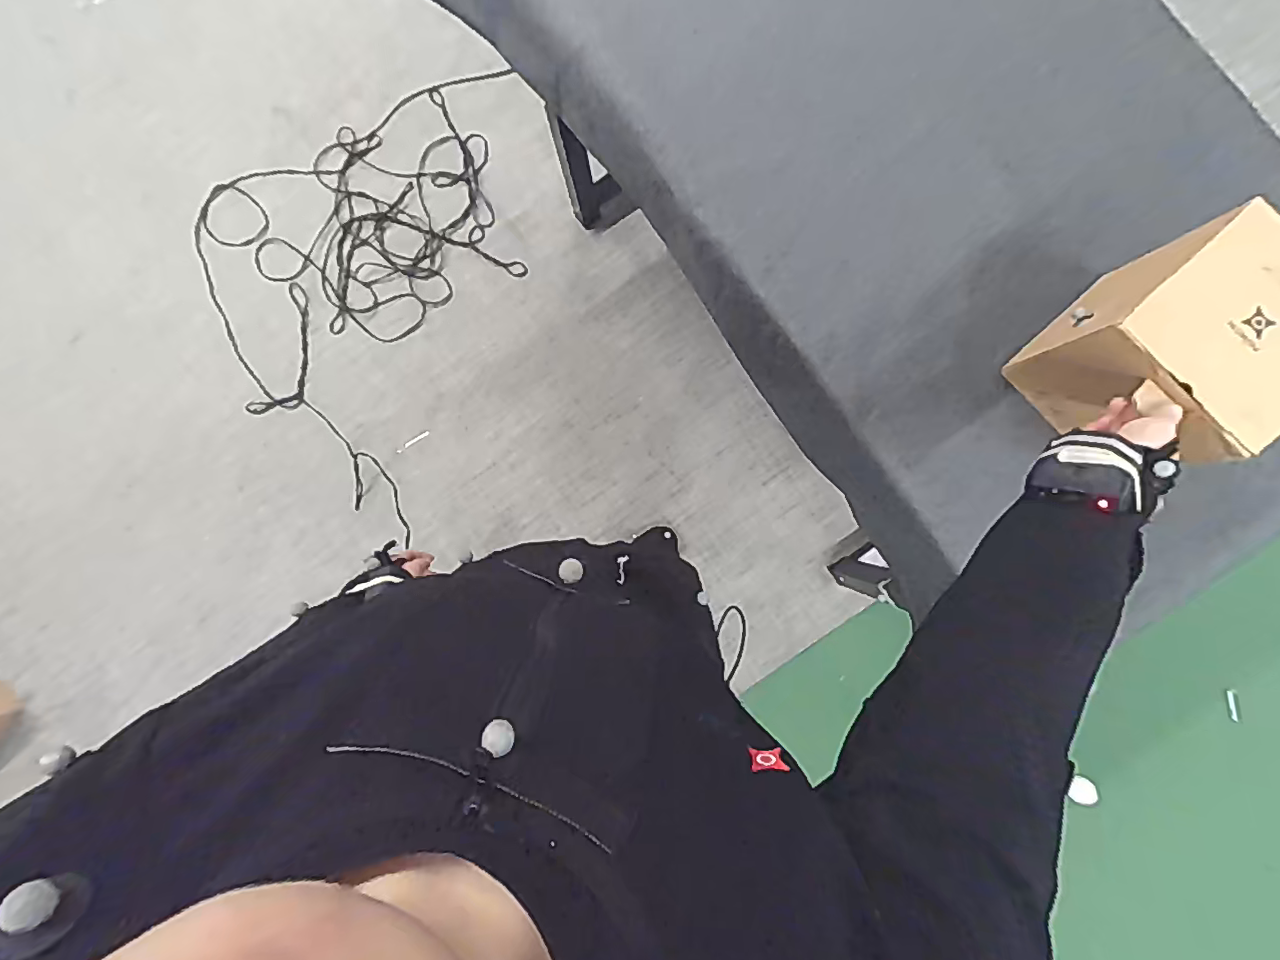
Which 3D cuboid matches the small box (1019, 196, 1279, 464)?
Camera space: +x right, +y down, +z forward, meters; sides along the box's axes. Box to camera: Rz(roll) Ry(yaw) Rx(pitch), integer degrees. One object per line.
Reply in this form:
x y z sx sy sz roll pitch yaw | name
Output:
0.539 -0.132 0.552 0.179 0.176 0.168 -42 88 -2 | small box
